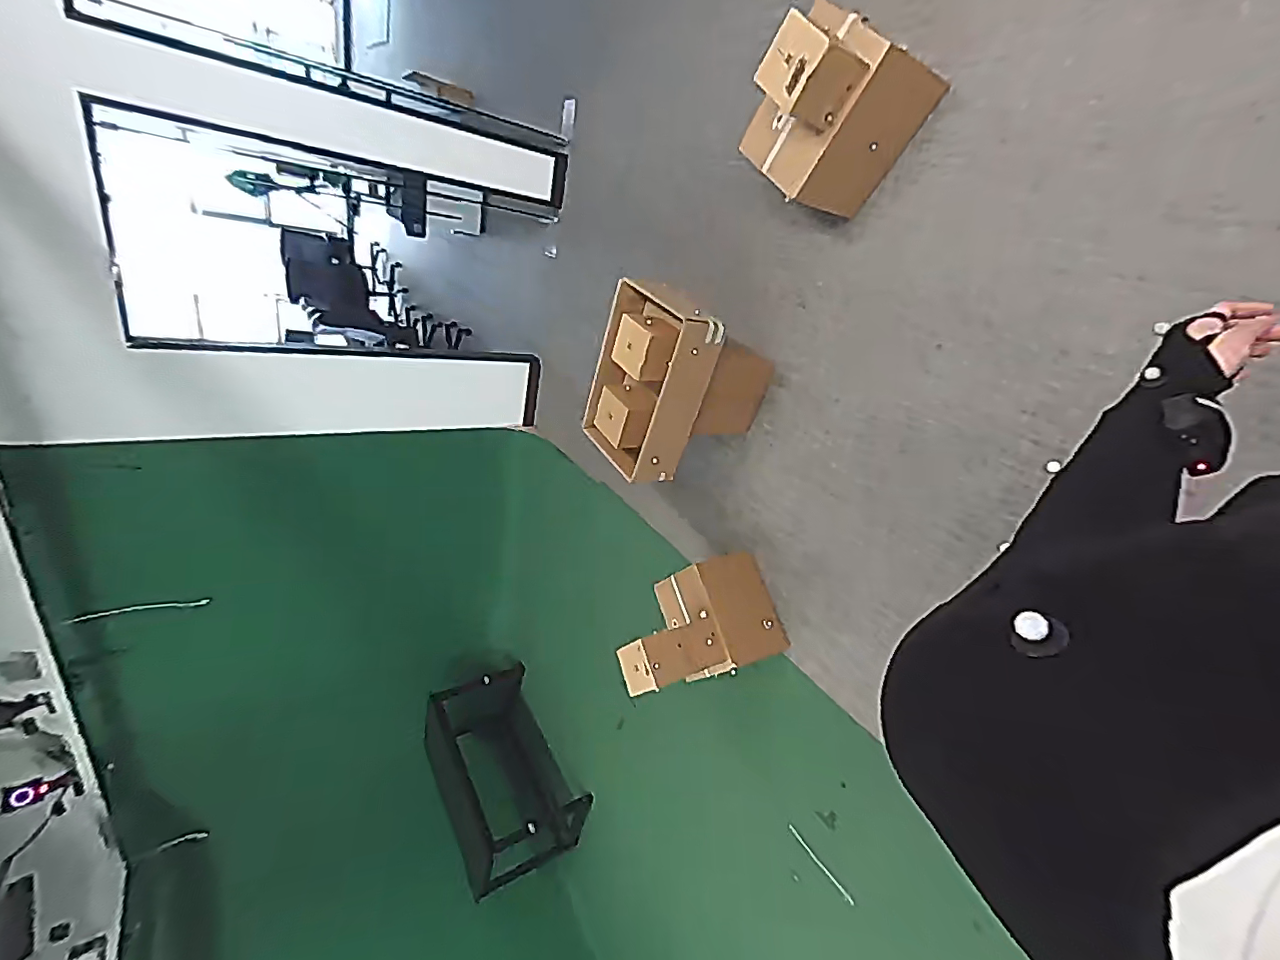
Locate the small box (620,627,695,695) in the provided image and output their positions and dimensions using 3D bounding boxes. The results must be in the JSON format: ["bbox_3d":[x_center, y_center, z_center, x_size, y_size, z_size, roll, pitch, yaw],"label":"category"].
[{"bbox_3d":[0.060,0.629,1.880,0.179,0.176,0.168,-43,61,48],"label":"small box"}]

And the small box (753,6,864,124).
[{"bbox_3d":[0.431,-1.046,1.380,0.168,0.176,0.179,-52,56,44],"label":"small box"}]

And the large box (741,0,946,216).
[{"bbox_3d":[0.582,-1.067,1.589,0.320,0.320,0.408,61,140,28],"label":"large box"}]

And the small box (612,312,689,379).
[{"bbox_3d":[0.034,-0.454,1.843,0.179,0.176,0.168,47,131,37],"label":"small box"}]

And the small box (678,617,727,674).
[{"bbox_3d":[0.186,0.620,1.985,0.179,0.176,0.168,-42,62,47],"label":"small box"}]
